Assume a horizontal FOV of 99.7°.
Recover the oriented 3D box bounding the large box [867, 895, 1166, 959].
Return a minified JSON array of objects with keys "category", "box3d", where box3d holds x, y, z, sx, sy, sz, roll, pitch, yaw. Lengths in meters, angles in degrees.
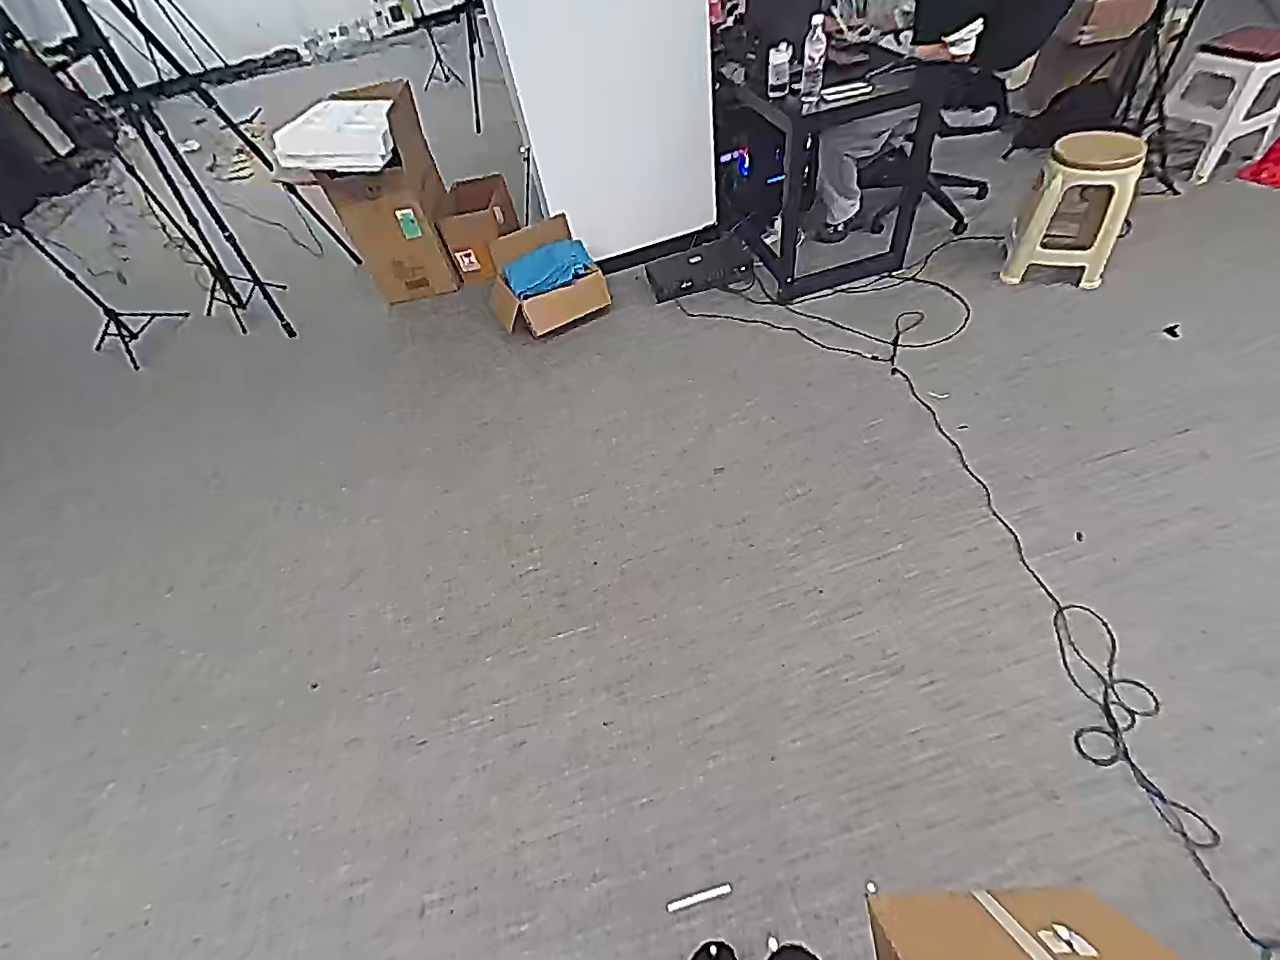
[{"category":"large box","box3d":[0.477,0.713,0.565,0.320,0.408,0.320,-4,75,6]}]
